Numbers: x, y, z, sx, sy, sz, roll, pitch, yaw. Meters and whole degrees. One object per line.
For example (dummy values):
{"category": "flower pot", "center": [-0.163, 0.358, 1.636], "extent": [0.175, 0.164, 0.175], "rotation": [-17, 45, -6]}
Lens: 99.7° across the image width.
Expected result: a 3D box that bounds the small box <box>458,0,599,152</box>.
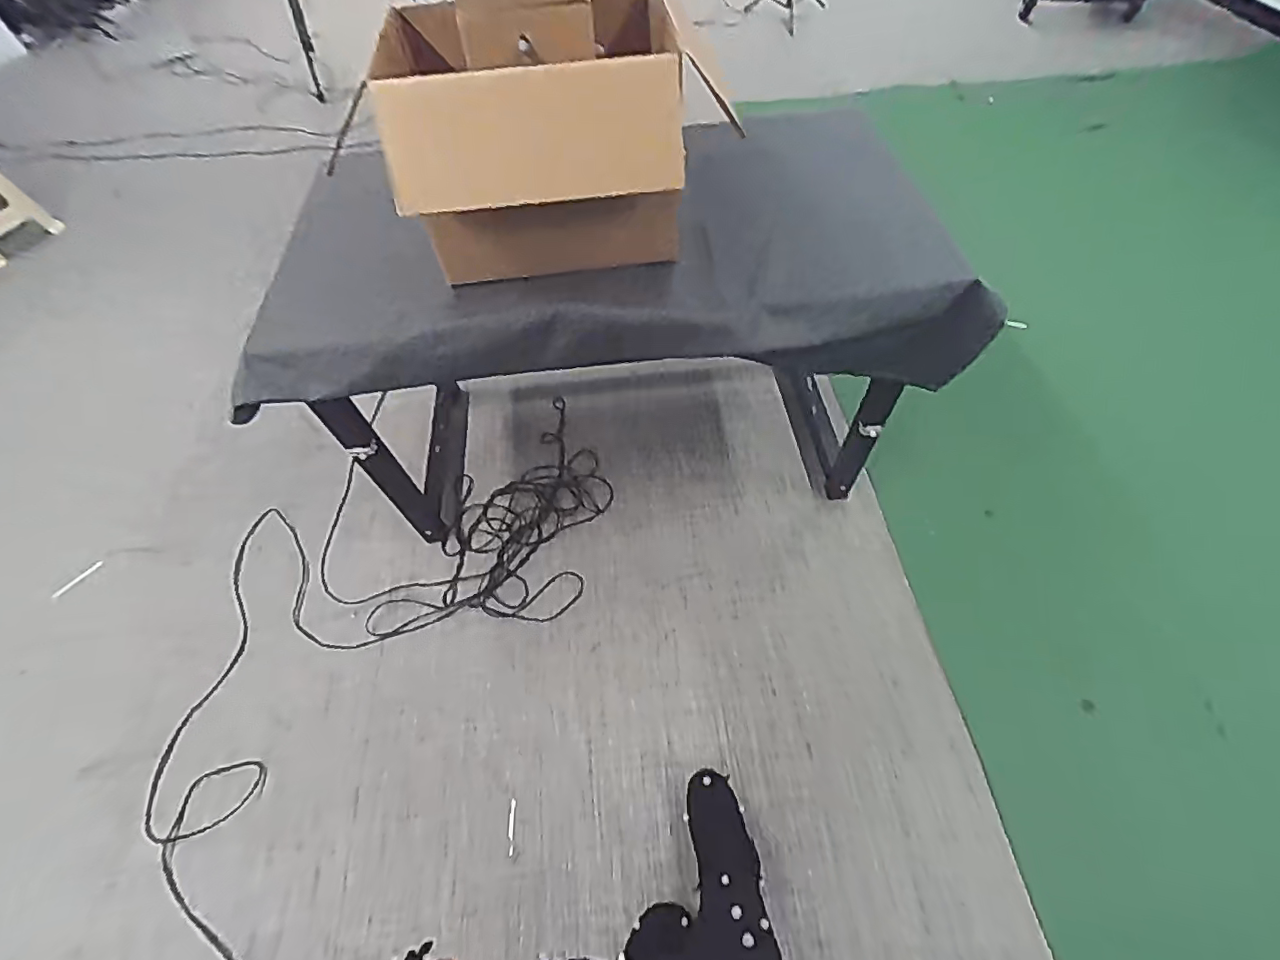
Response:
{"category": "small box", "center": [-0.155, -0.619, 0.807], "extent": [0.179, 0.176, 0.168], "rotation": [-7, 56, -2]}
